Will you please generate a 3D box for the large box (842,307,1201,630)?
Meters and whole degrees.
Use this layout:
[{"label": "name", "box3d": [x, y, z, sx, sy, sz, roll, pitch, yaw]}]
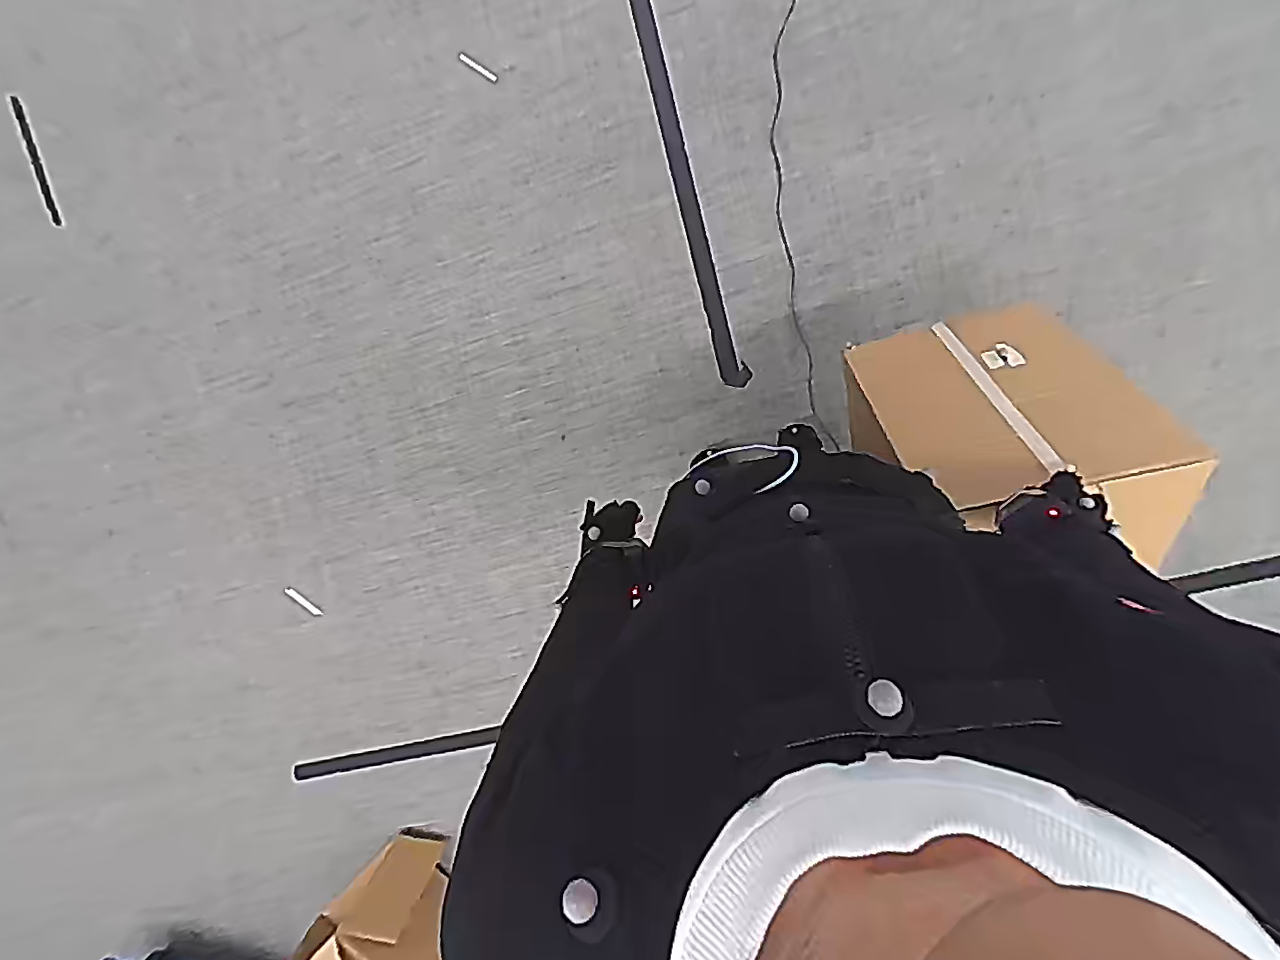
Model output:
[{"label": "large box", "box3d": [0.563, -0.022, 0.905, 0.320, 0.408, 0.320, -13, 132, 11]}]
